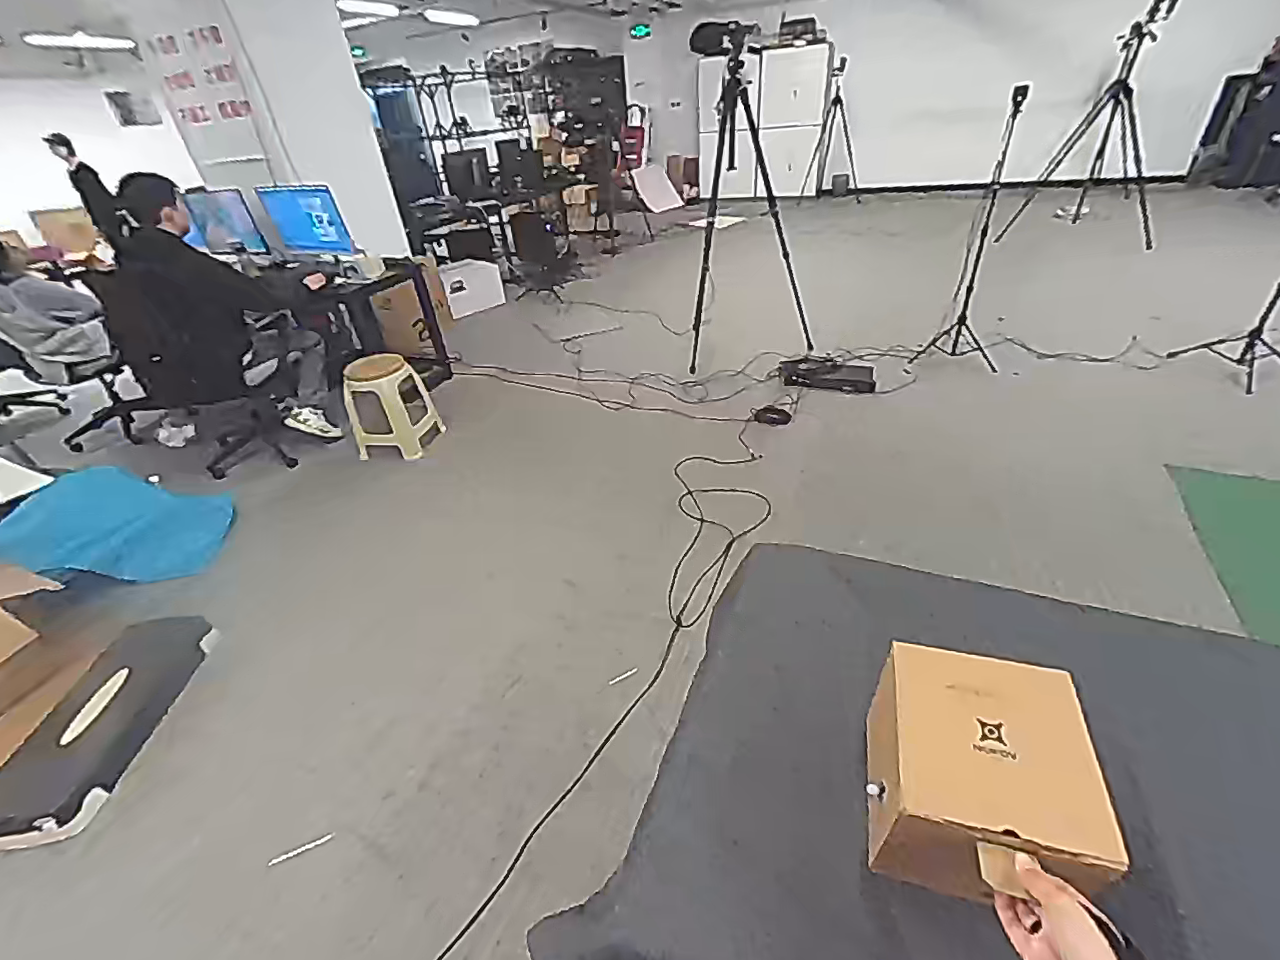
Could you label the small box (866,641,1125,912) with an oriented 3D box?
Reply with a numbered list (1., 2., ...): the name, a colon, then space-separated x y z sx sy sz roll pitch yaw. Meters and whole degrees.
1. small box: 0.334 0.300 0.553 0.168 0.176 0.179 7 40 16
